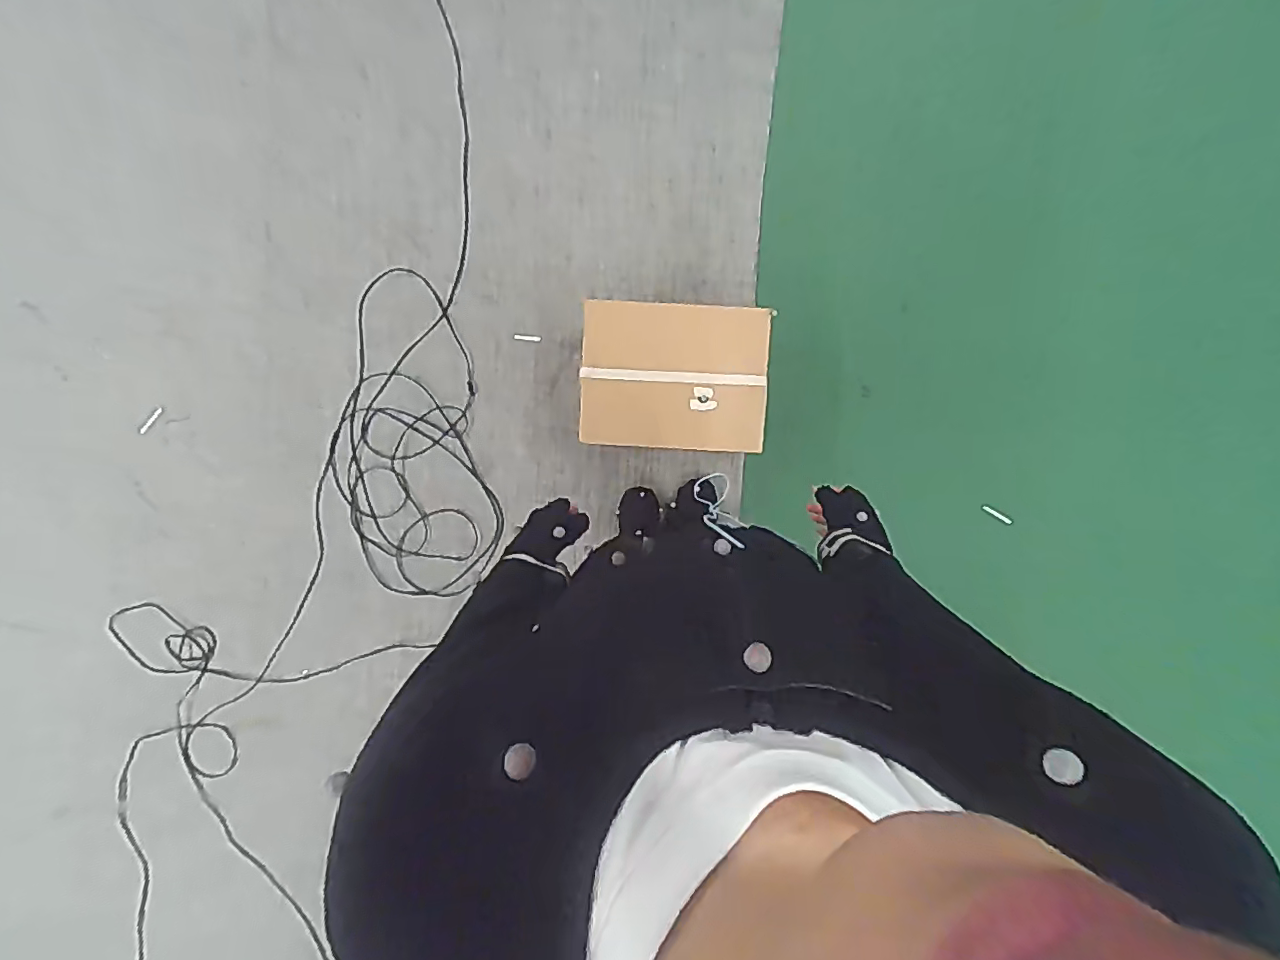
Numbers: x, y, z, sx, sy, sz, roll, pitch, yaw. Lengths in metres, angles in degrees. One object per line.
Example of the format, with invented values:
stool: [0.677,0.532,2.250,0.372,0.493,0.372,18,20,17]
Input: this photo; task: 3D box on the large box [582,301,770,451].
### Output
large box: [0.076,-0.232,1.318,0.408,0.320,0.320,3,94,1]
